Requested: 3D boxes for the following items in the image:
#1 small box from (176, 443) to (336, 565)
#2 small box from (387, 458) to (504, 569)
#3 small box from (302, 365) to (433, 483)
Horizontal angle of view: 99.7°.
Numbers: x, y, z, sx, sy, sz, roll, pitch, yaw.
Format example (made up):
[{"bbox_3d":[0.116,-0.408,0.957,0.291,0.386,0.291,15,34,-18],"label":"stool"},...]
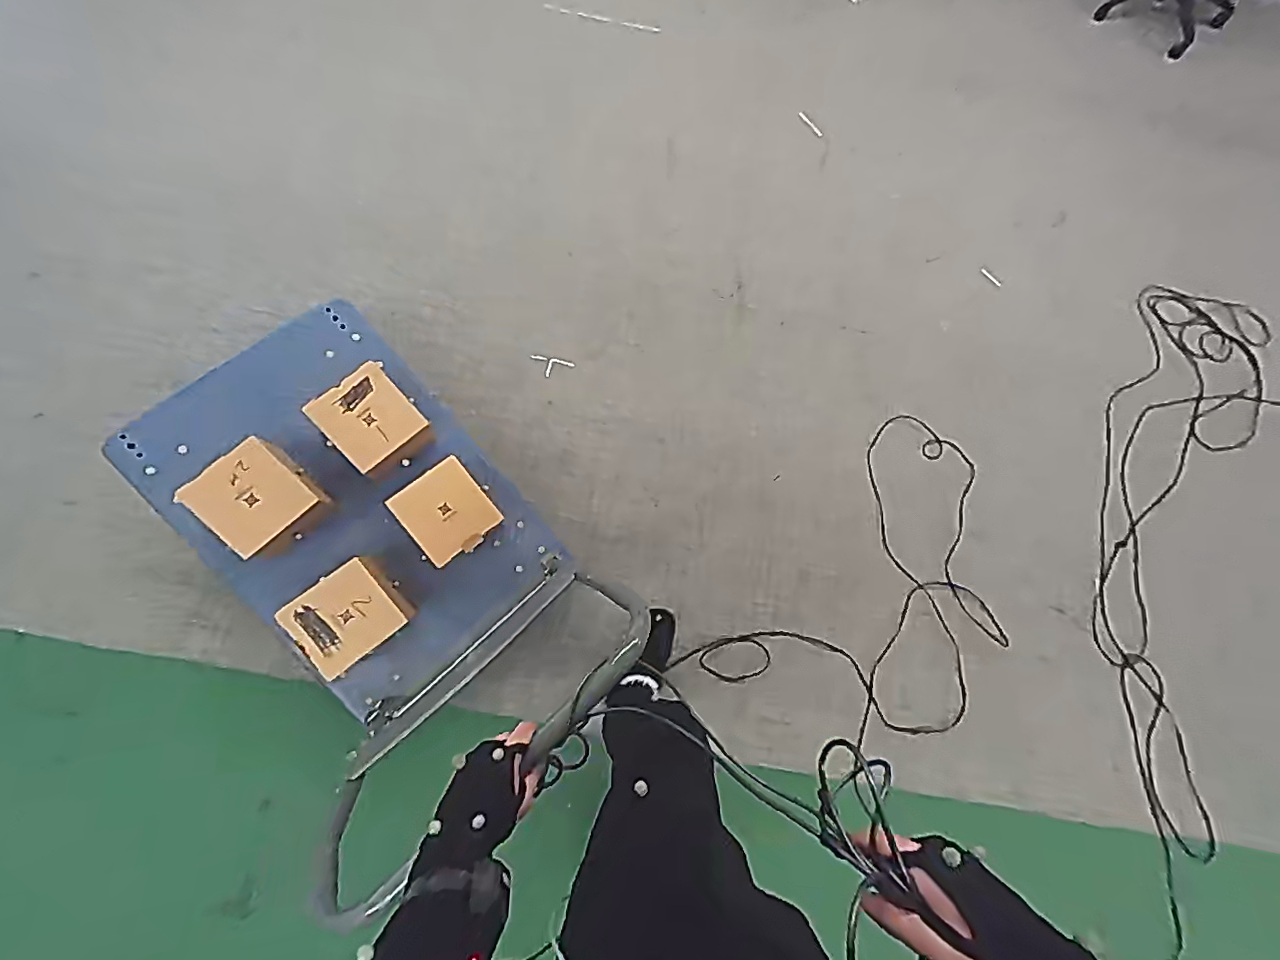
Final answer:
[{"bbox_3d":[-0.758,0.051,1.094,0.179,0.176,0.168,46,73,-6],"label":"small box"},{"bbox_3d":[-0.420,0.078,1.186,0.168,0.176,0.179,-40,95,-16],"label":"small box"},{"bbox_3d":[-0.574,-0.111,1.166,0.168,0.176,0.179,-43,96,-16],"label":"small box"}]
